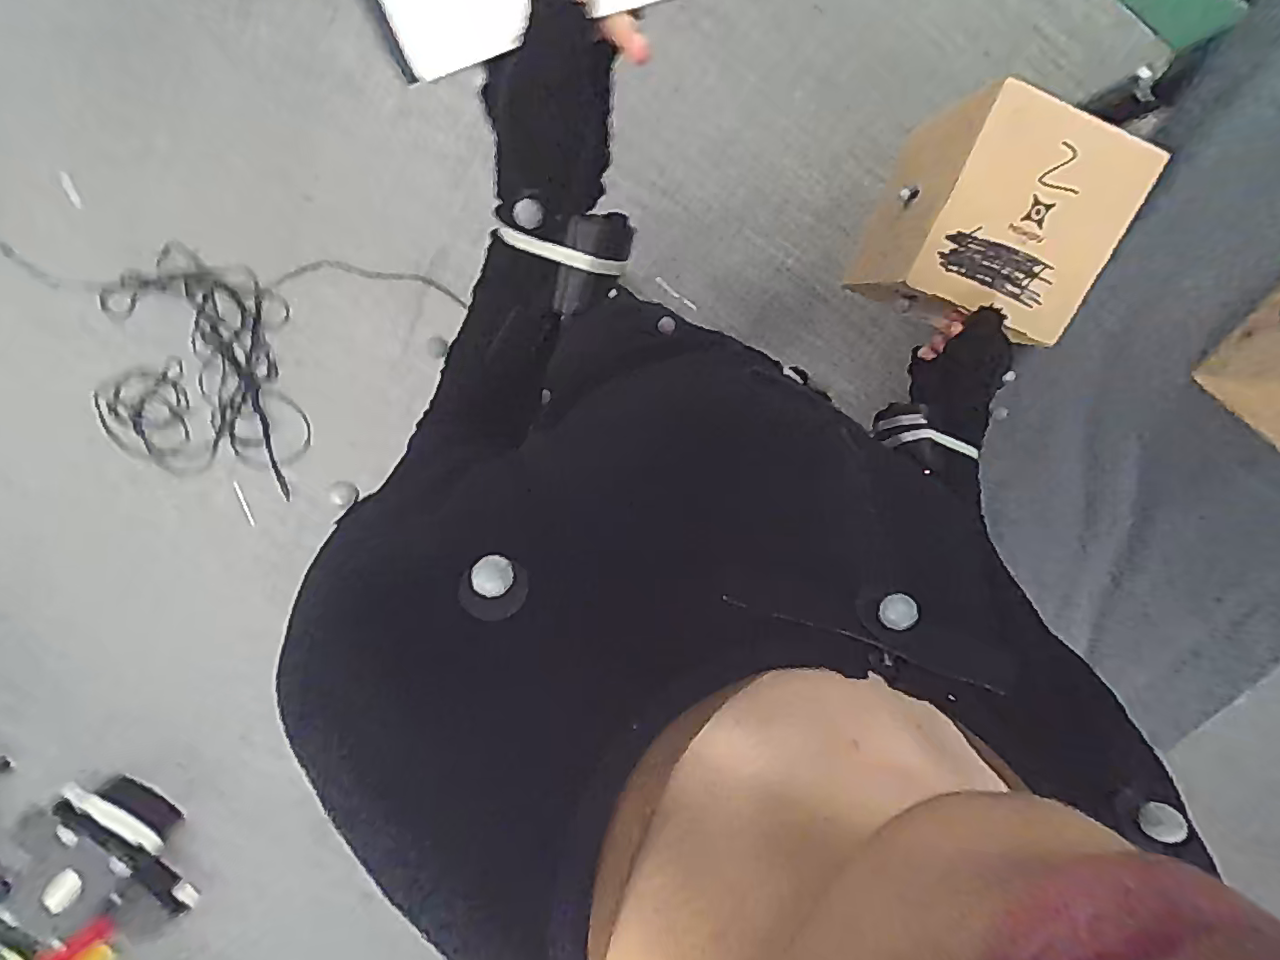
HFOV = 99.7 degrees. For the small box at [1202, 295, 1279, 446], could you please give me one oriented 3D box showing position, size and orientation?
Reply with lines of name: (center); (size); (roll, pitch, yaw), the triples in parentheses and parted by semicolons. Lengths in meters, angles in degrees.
small box: (0.792, -0.117, 0.575); (0.179, 0.176, 0.168); (34, 105, -7)
